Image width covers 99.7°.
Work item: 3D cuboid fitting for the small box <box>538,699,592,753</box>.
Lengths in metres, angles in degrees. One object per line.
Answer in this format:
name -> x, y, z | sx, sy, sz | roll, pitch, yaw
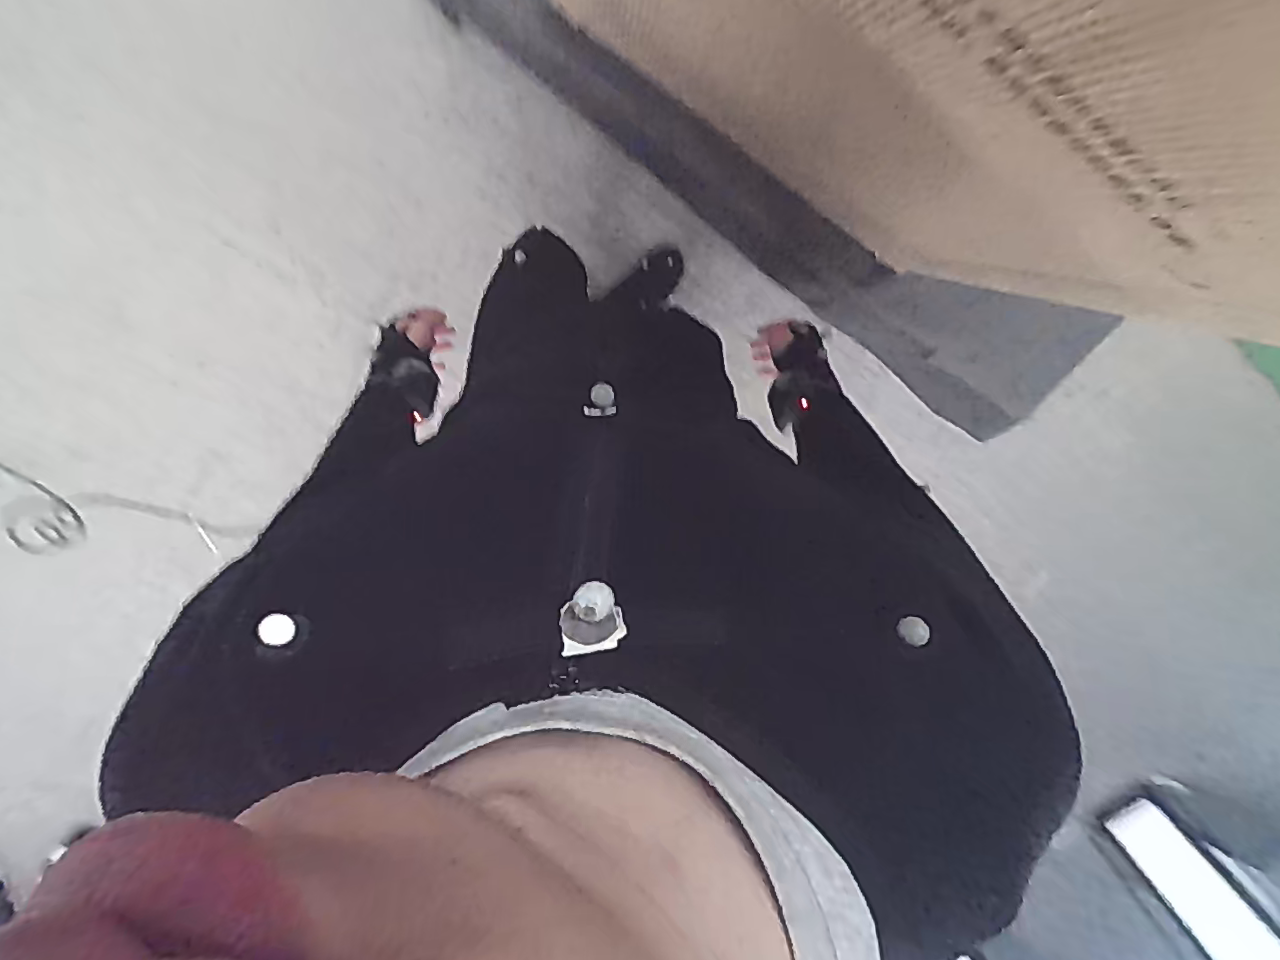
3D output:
small box -> -0.289, 0.974, 2.081 | 0.168, 0.176, 0.179 | 18, 116, -11
